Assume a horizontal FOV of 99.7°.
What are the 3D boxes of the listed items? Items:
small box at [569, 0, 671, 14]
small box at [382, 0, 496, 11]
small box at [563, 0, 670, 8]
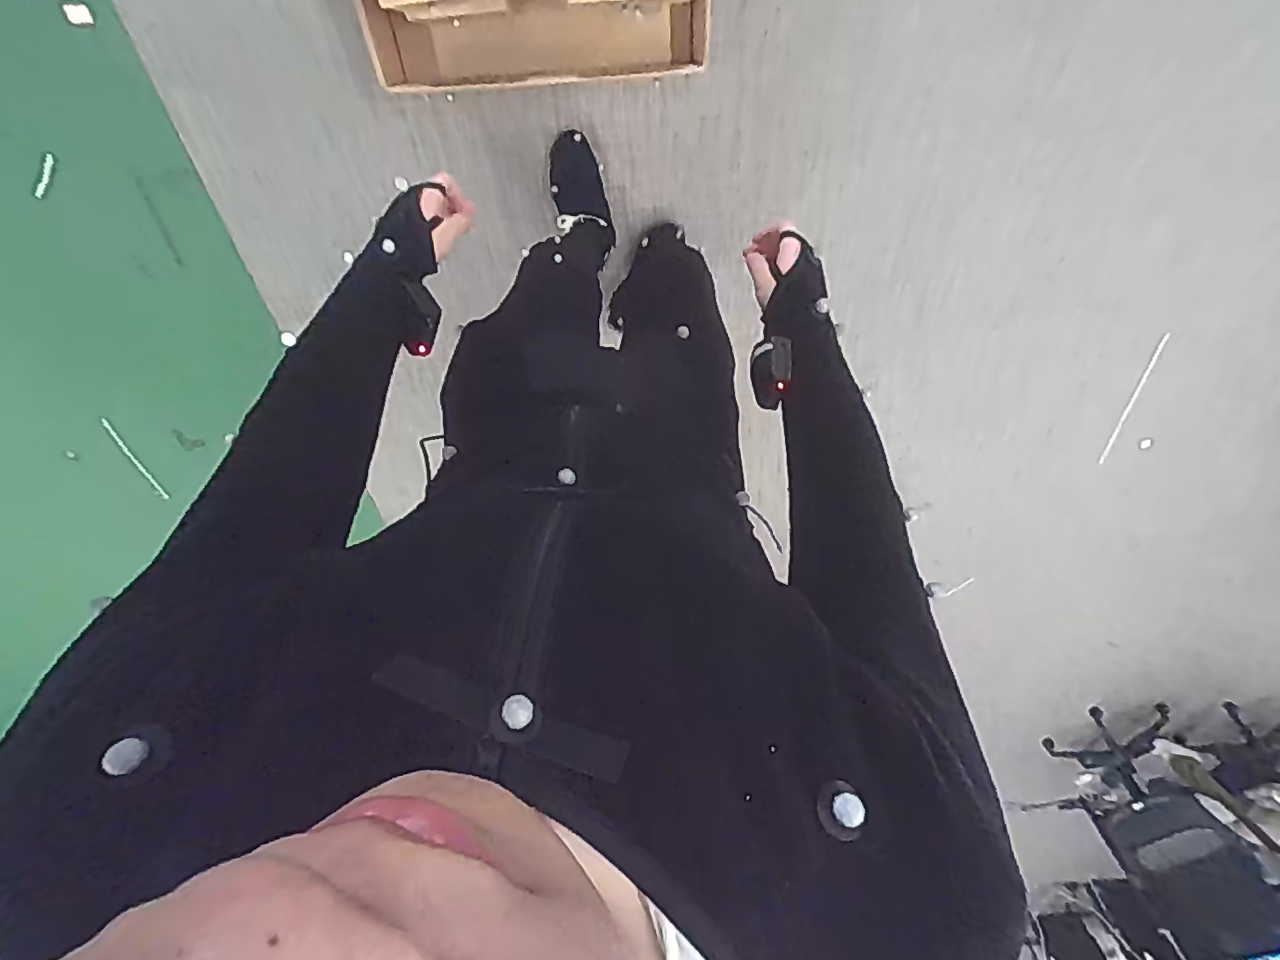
[{"bbox_3d":[-0.037,-0.923,0.937,0.179,0.176,0.168,-1,128,-1],"label":"small box"},{"bbox_3d":[-0.309,-0.819,0.800,0.168,0.176,0.179,-7,128,2],"label":"small box"},{"bbox_3d":[-0.036,-0.825,0.808,0.168,0.176,0.179,-2,128,-2],"label":"small box"}]
